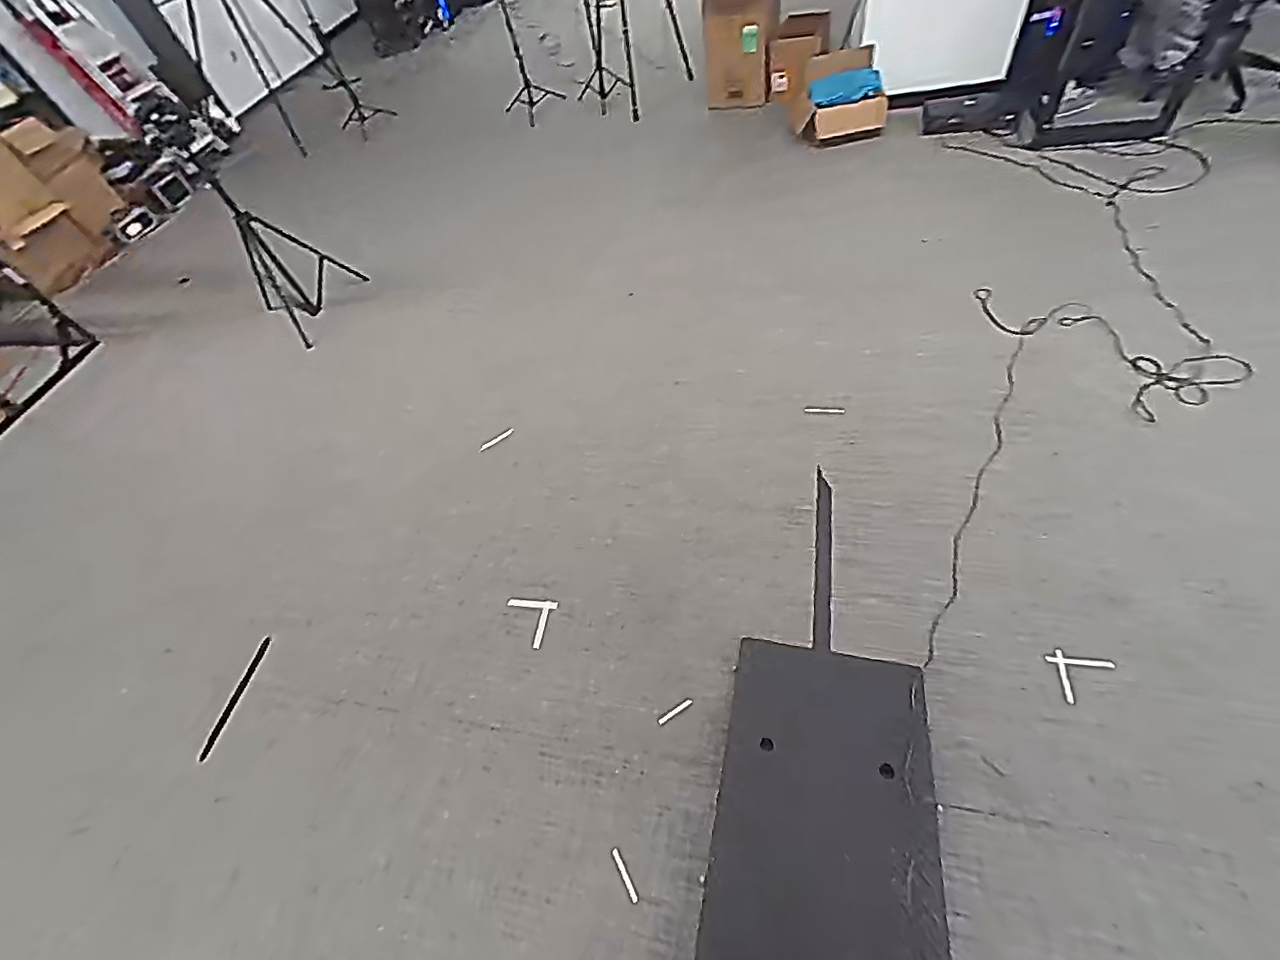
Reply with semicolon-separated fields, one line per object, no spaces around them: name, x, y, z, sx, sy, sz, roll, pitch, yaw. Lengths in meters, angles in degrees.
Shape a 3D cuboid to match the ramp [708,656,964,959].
ramp;0.421;0.867;1.191;0.509;0.206;0.991;1;53;16
